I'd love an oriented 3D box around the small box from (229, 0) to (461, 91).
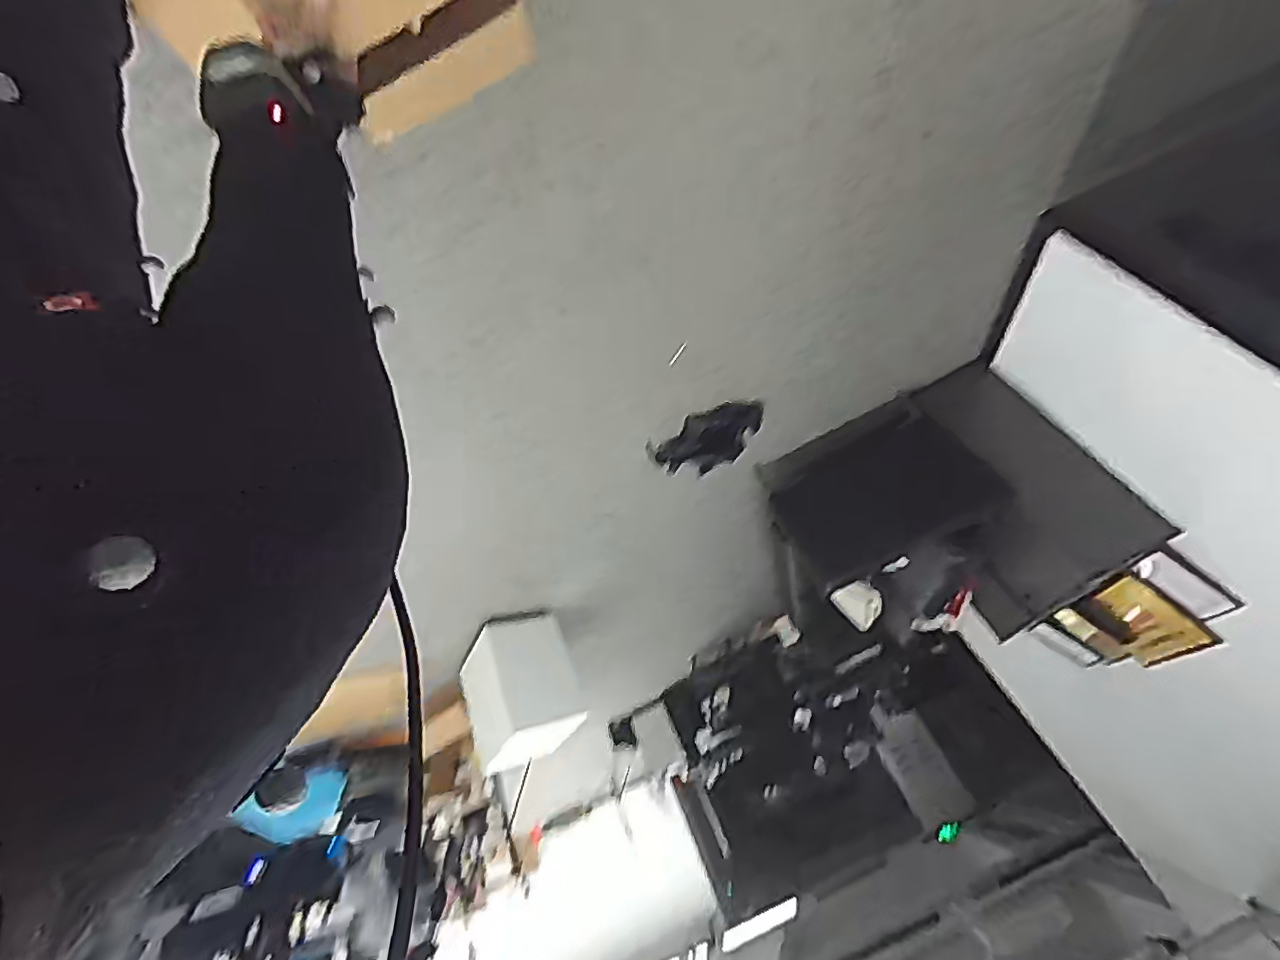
[{"bbox_3d":[-0.300,-0.494,0.493,0.179,0.176,0.168,-40,138,-7],"label":"small box"}]
